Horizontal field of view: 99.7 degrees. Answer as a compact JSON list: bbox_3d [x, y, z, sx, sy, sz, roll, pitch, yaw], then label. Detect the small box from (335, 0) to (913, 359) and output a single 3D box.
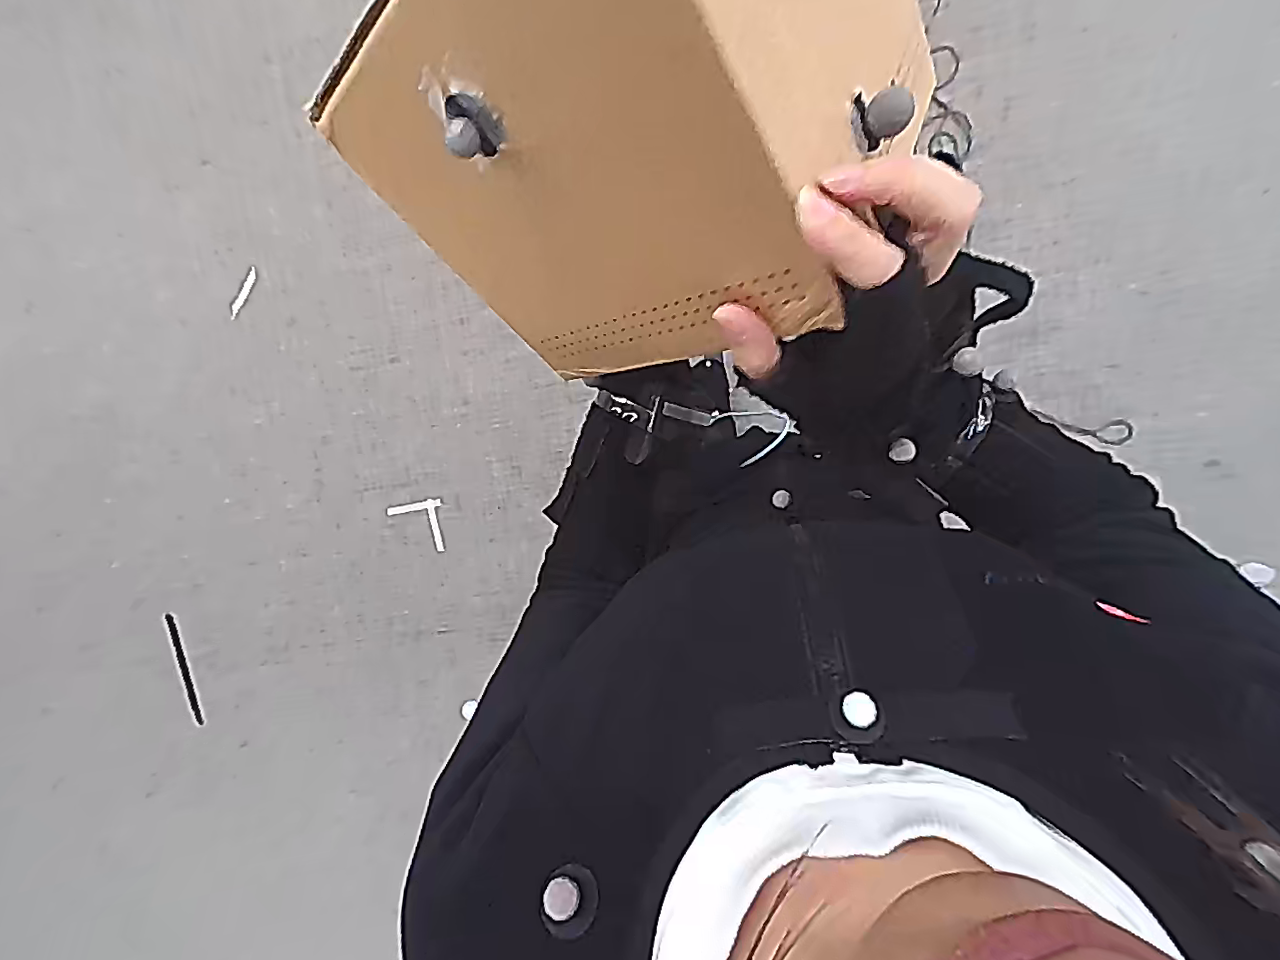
[{"bbox_3d":[0.001,-0.177,0.261,0.179,0.176,0.168,3,59,46],"label":"small box"}]
